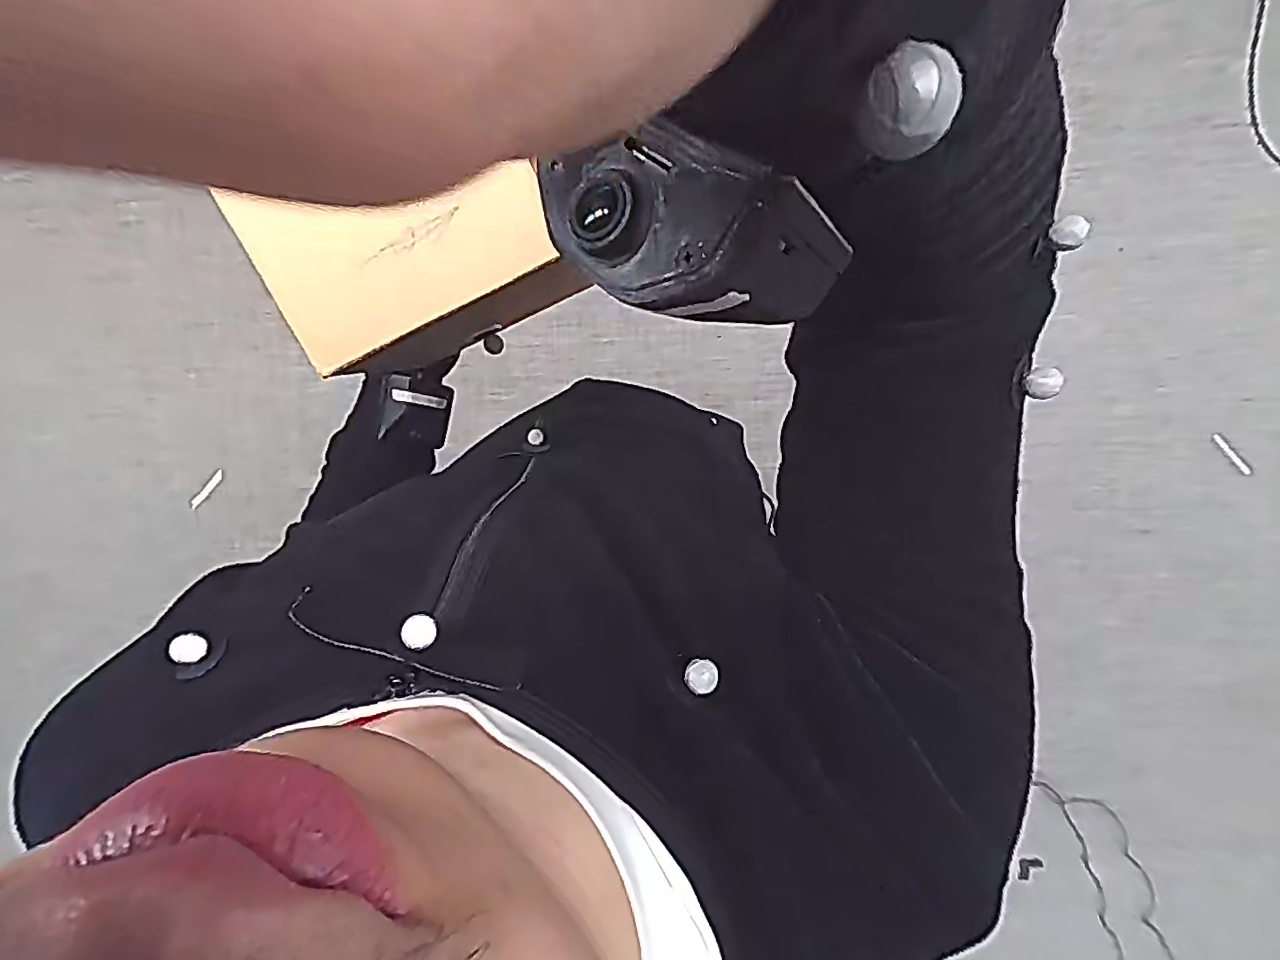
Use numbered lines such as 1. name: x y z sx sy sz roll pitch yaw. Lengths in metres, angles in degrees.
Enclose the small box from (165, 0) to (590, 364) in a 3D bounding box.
1. small box: -0.147 -0.193 0.376 0.168 0.176 0.179 -23 103 6
